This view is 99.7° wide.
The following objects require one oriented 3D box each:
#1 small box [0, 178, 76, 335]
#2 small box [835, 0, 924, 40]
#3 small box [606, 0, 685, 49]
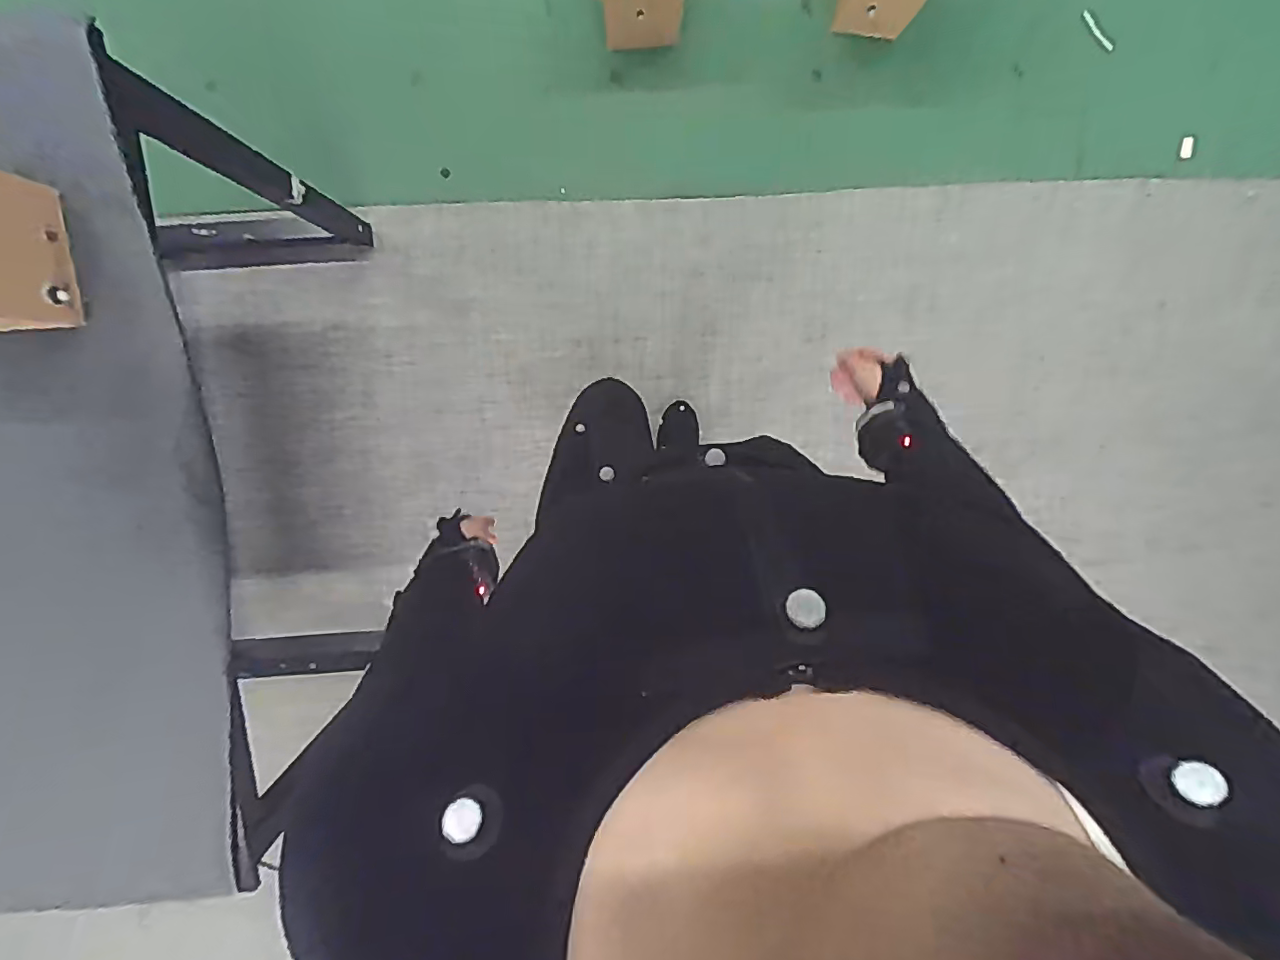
[{"bbox_3d":[-0.791,-0.254,0.599,0.179,0.176,0.168,-2,100,2],"label":"small box"},{"bbox_3d":[0.562,-1.155,1.233,0.168,0.176,0.179,5,98,-2],"label":"small box"},{"bbox_3d":[0.009,-1.117,1.224,0.179,0.176,0.168,-3,100,-1],"label":"small box"}]
